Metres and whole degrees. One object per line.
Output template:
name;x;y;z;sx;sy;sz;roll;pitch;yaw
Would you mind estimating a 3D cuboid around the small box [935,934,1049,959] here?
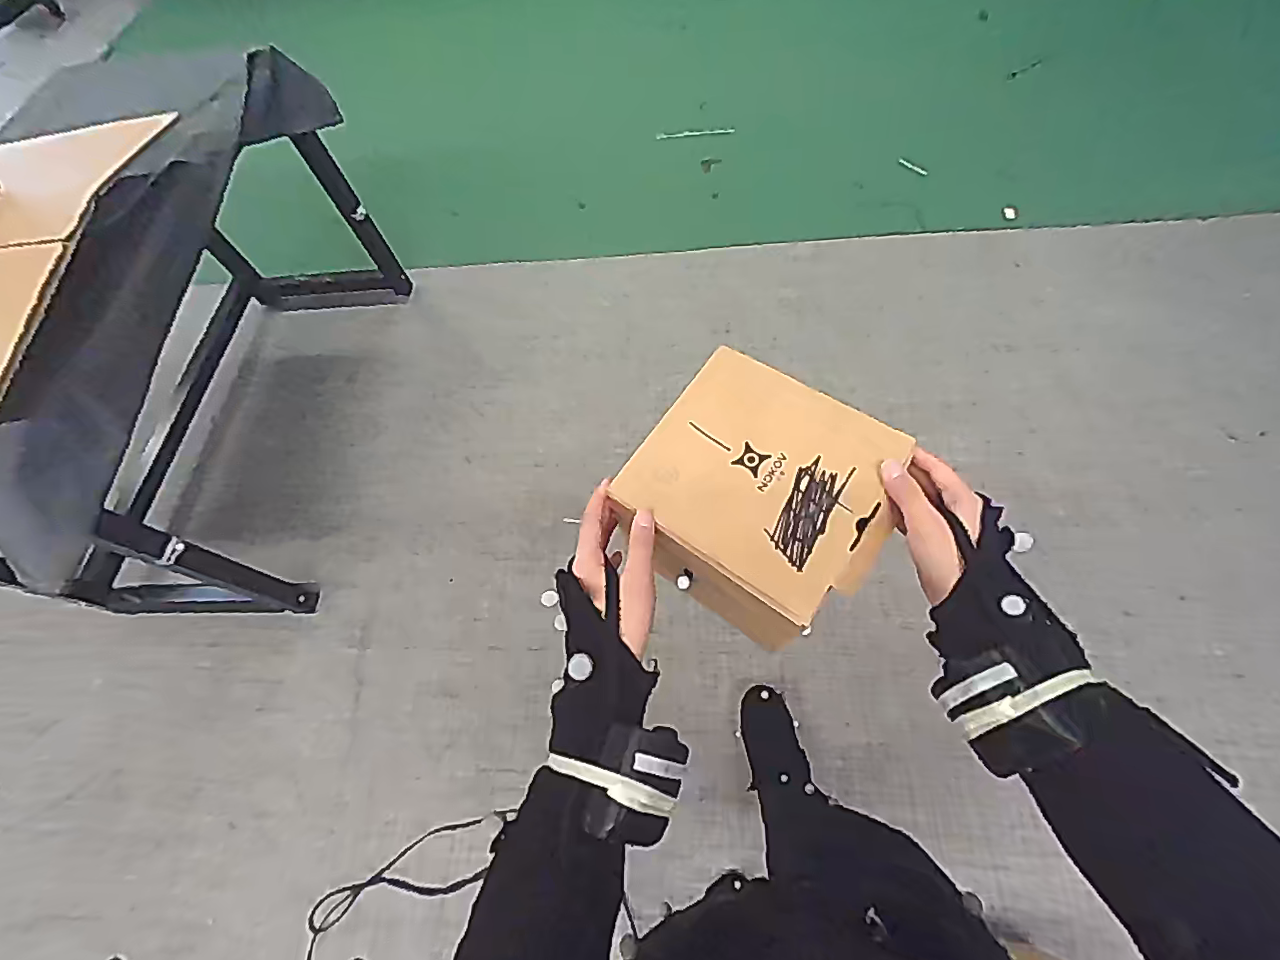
small box;0.602;0.873;0.877;0.168;0.176;0.179;2;63;8
